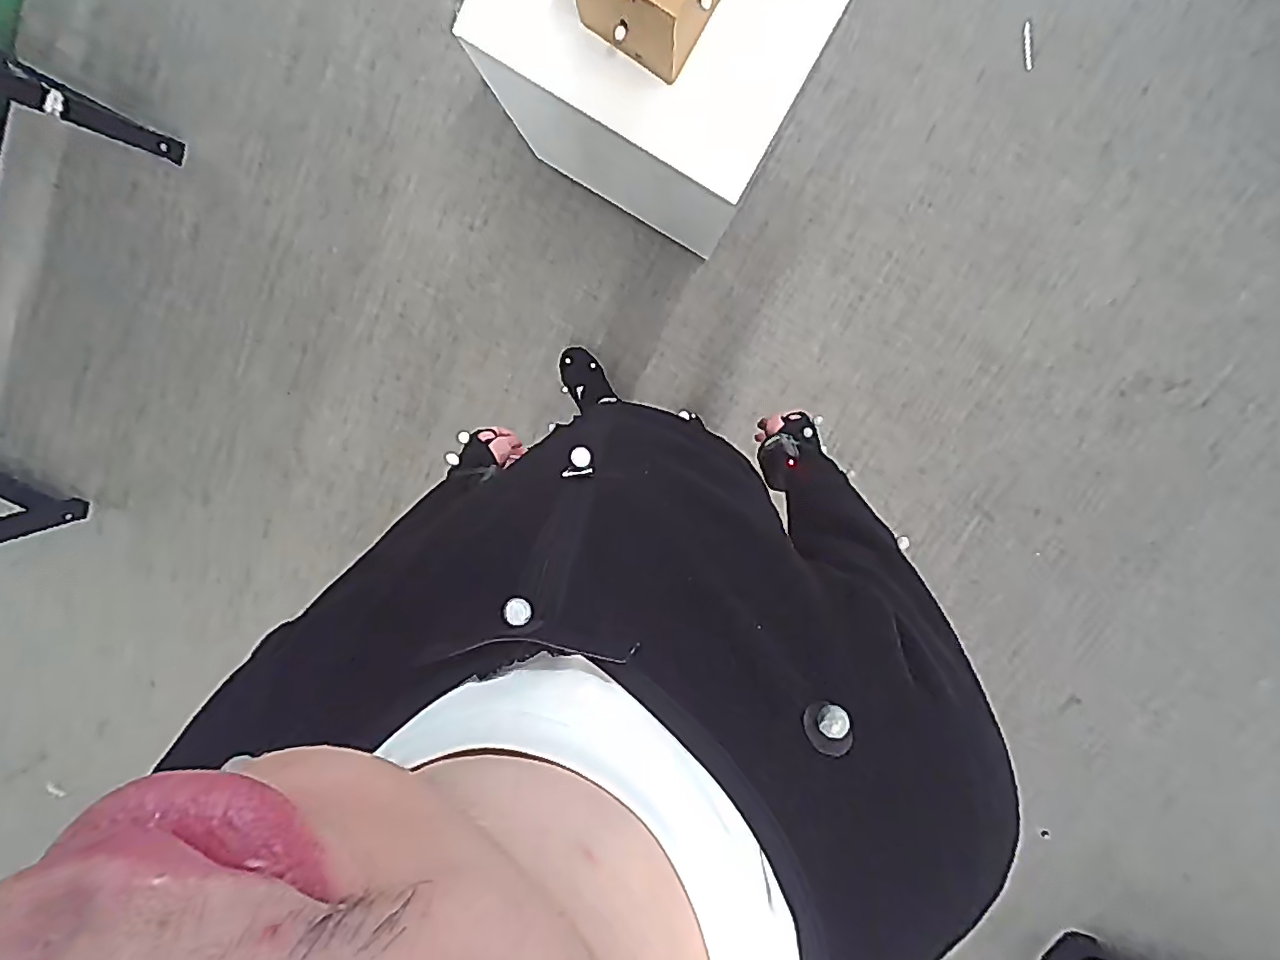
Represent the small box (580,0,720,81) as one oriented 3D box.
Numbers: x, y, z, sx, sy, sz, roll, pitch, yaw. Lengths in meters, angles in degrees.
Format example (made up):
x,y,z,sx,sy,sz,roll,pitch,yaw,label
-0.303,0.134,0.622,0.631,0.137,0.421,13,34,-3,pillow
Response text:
x,y,z,sx,sy,sz,roll,pitch,yaw,label
0.023,-0.698,0.730,0.168,0.176,0.179,29,102,-4,small box
